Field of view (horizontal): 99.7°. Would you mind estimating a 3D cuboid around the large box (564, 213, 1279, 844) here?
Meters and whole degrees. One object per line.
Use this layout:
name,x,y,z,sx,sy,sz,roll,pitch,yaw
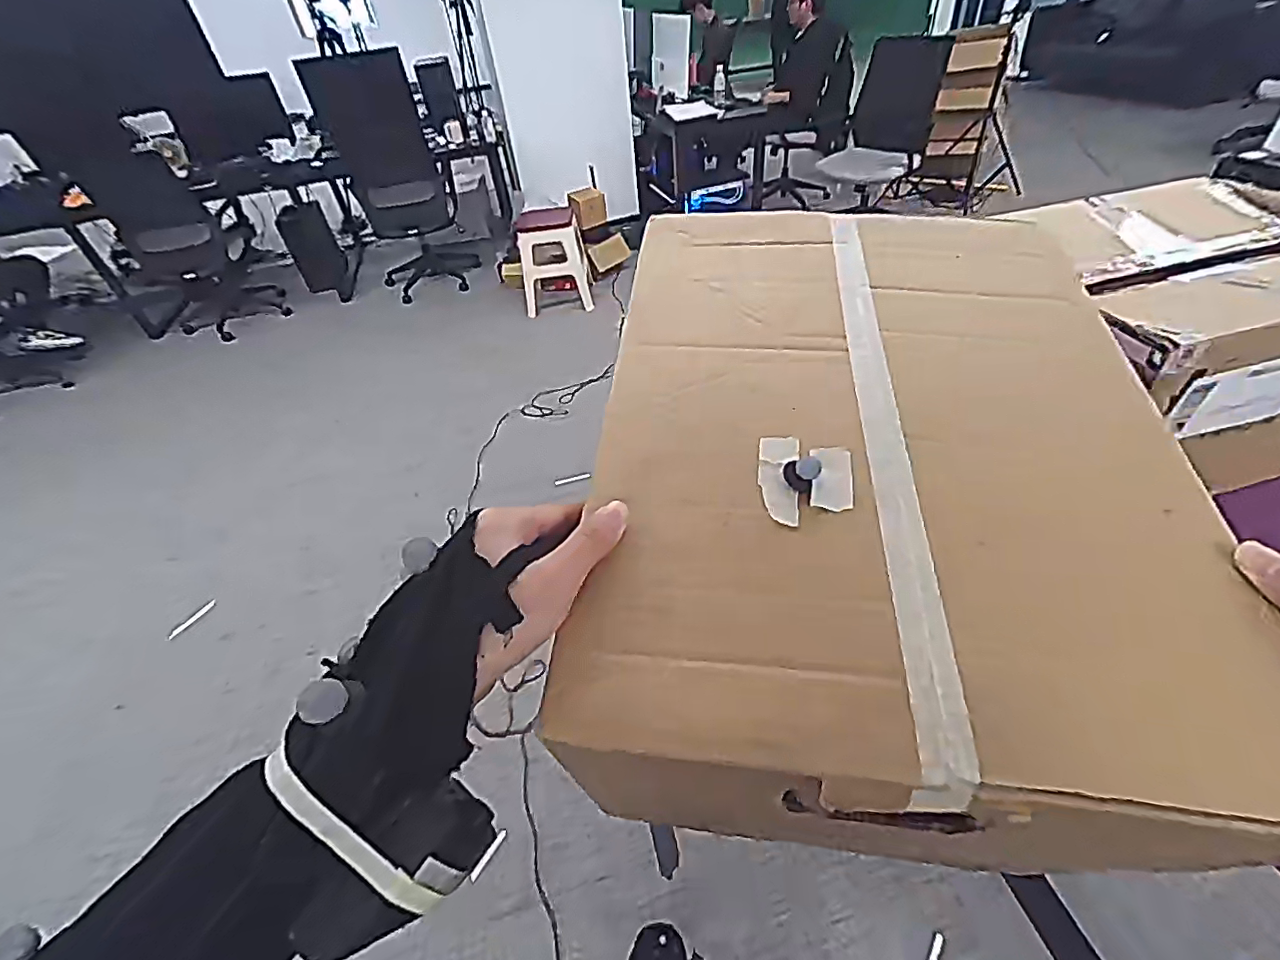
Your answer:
large box,0.143,0.036,0.443,0.320,0.320,0.408,3,54,6
